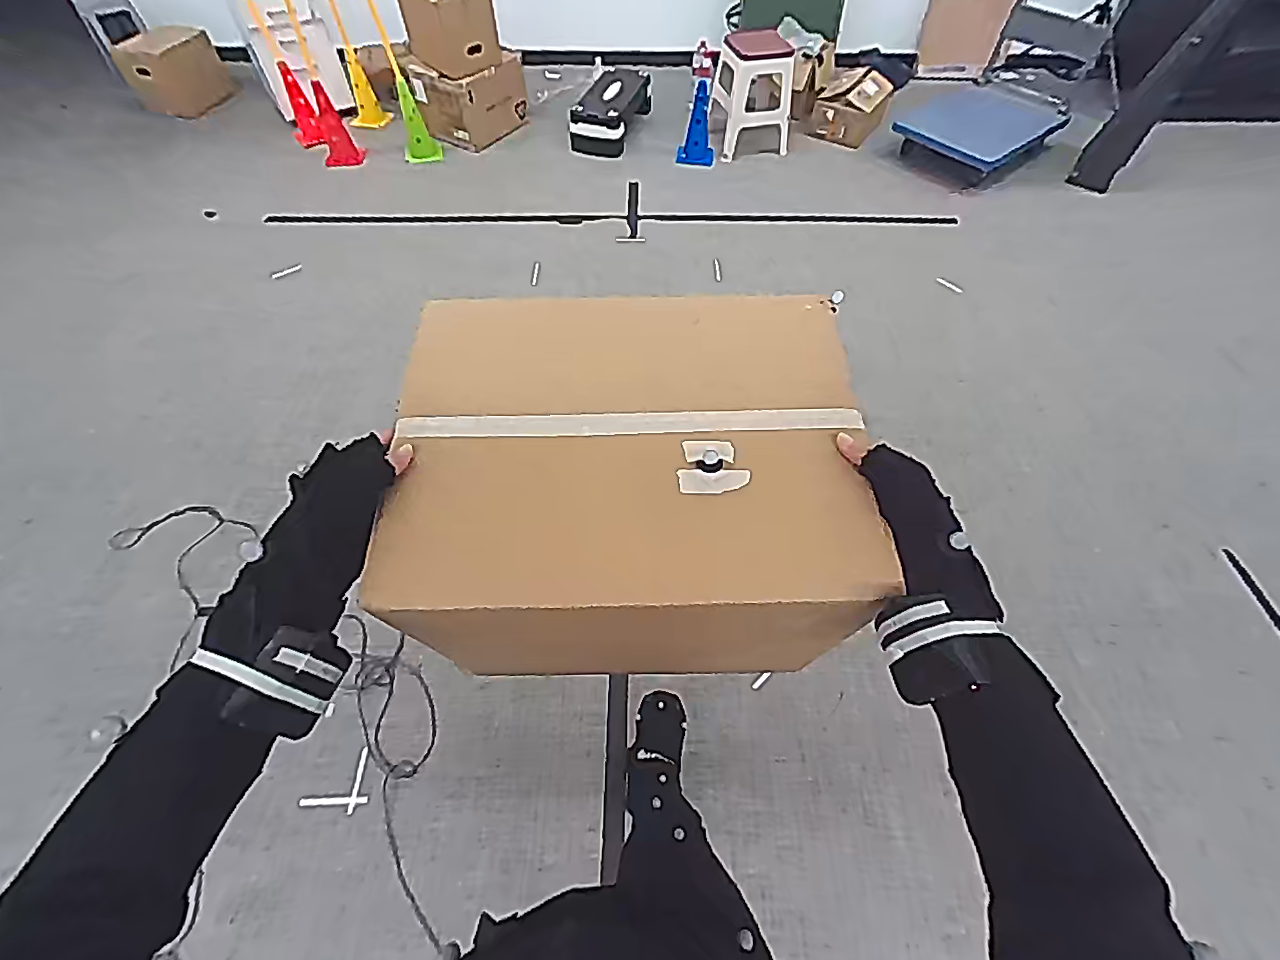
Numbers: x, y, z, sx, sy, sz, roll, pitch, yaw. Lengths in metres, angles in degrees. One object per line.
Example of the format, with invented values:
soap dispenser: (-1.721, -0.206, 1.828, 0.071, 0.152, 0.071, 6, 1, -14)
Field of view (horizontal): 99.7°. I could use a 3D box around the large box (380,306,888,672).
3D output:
large box: (-0.008, 0.028, 0.618, 0.408, 0.320, 0.320, -1, 62, 0)
